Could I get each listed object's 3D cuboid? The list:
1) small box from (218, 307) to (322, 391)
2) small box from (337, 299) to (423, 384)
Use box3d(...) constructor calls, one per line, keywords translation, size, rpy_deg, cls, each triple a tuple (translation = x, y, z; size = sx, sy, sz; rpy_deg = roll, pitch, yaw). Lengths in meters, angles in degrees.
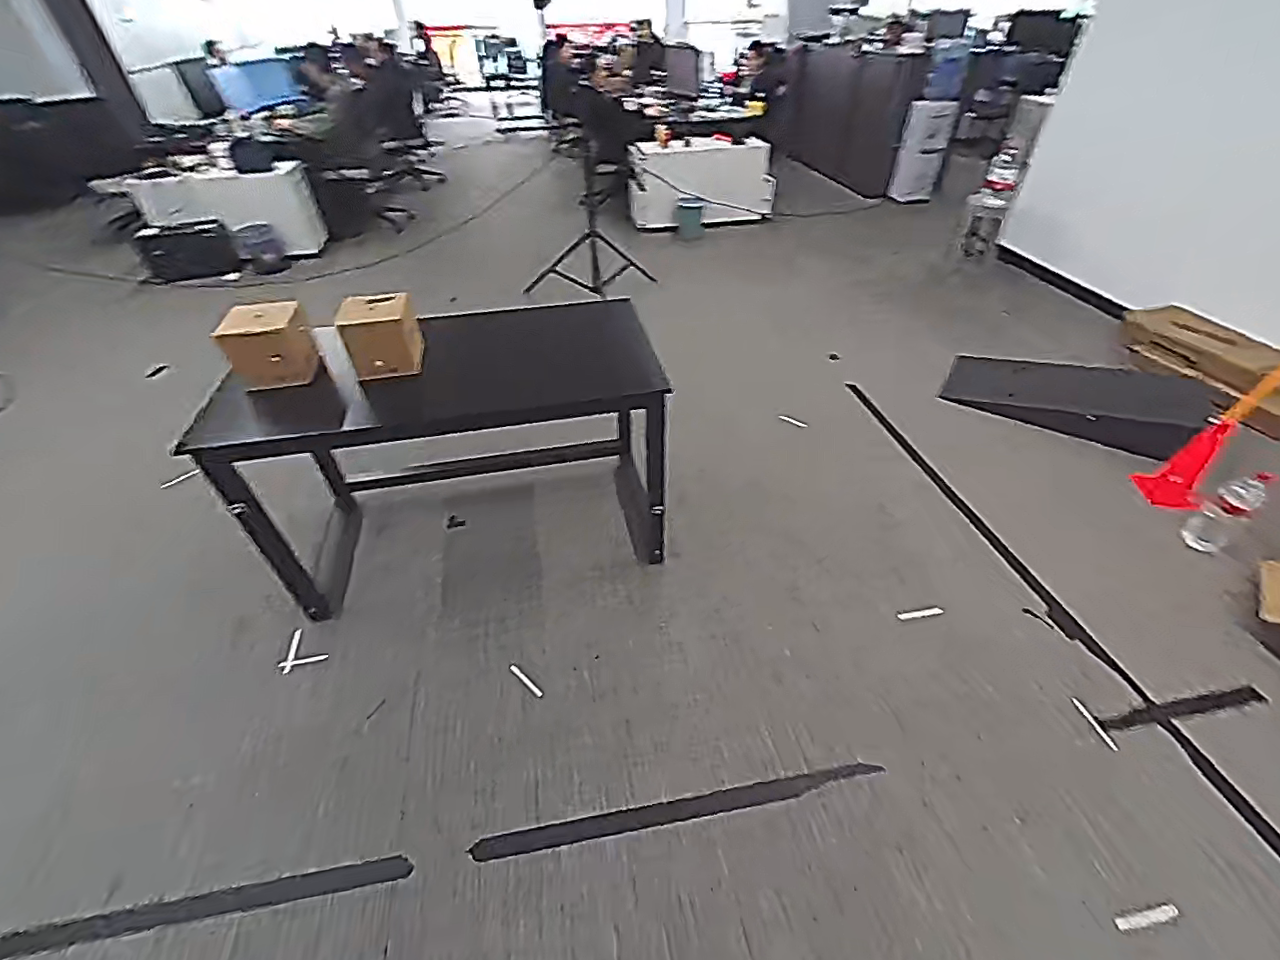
box3d(translation=(-1.001, -0.354, 1.482), size=(0.168, 0.176, 0.179), rpy_deg=(-8, 41, -10), cls="small box")
box3d(translation=(-0.718, -0.389, 1.516), size=(0.168, 0.176, 0.179), rpy_deg=(-9, 43, -9), cls="small box")
